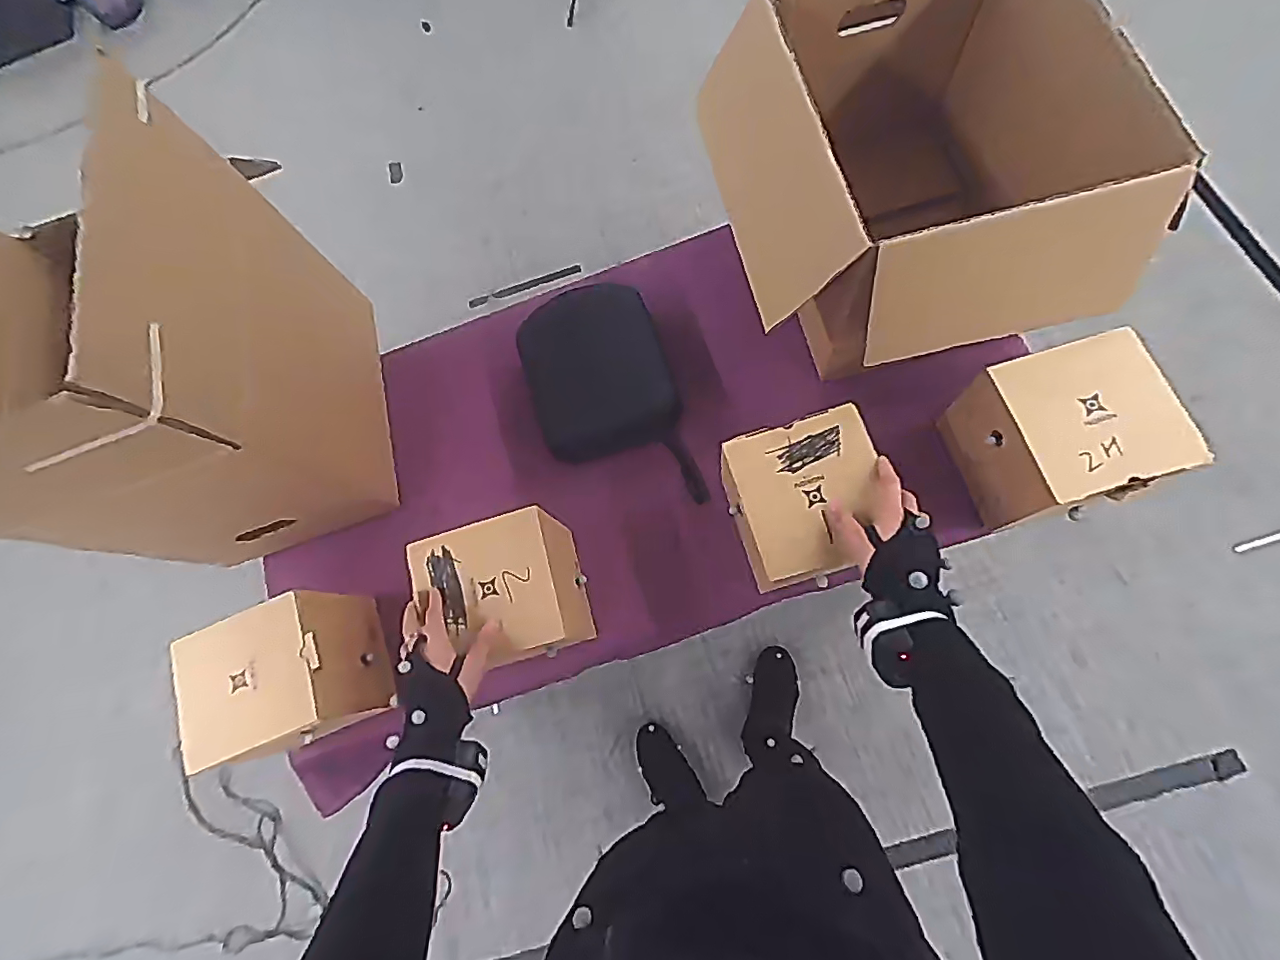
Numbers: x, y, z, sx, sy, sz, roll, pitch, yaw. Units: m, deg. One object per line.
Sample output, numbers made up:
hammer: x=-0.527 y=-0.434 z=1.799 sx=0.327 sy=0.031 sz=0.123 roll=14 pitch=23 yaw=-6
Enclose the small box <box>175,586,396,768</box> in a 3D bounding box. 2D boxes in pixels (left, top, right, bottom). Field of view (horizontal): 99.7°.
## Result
small box: x=-0.470 y=0.261 z=0.735 sx=0.179 sy=0.176 sz=0.168 roll=-23 pitch=72 yaw=0
